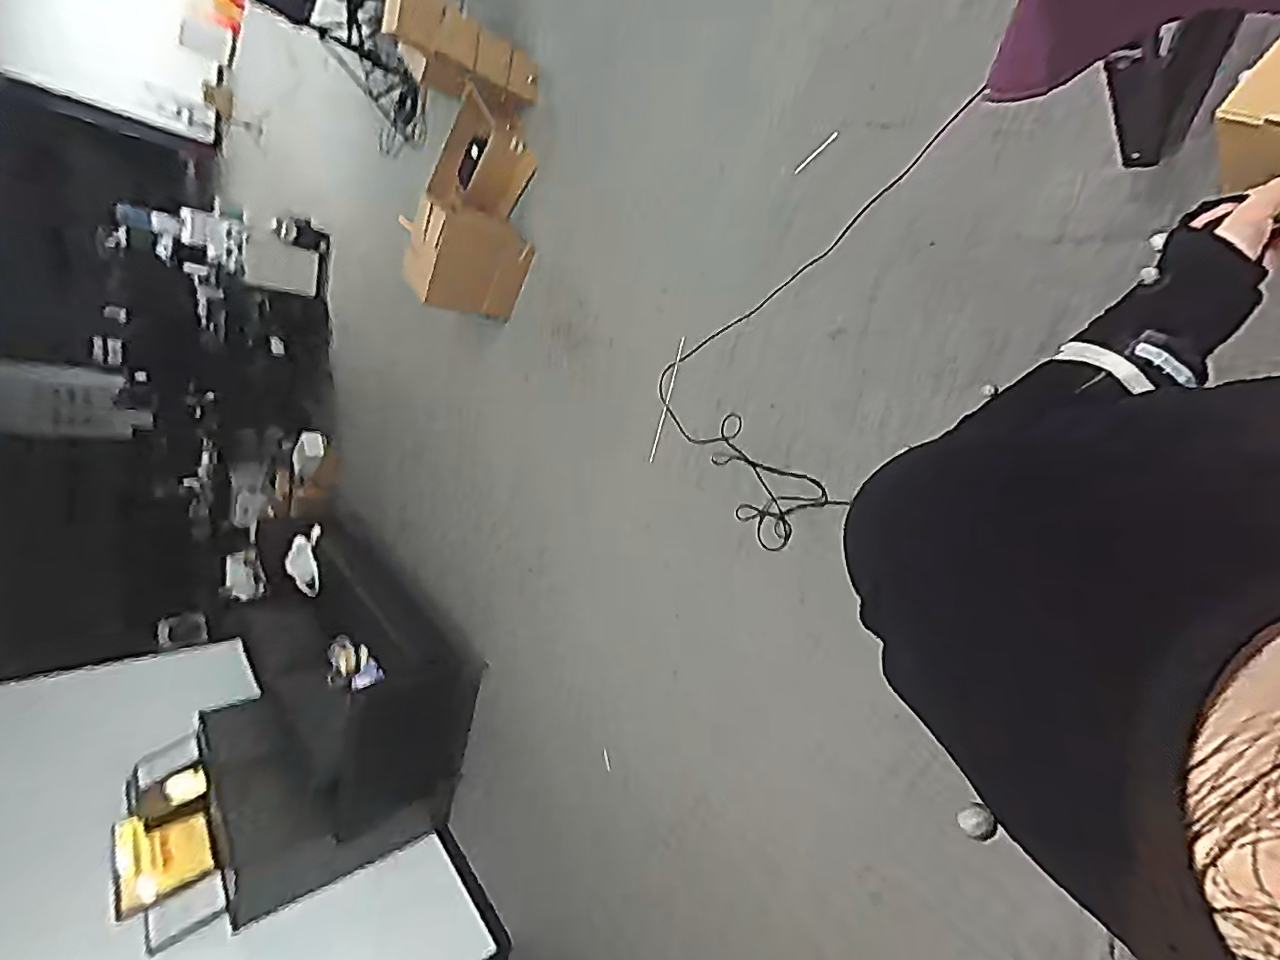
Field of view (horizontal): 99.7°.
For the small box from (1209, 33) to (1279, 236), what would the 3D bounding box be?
[{"bbox_3d":[0.568,-0.281,0.384,0.168,0.176,0.179,52,122,37],"label":"small box"}]
